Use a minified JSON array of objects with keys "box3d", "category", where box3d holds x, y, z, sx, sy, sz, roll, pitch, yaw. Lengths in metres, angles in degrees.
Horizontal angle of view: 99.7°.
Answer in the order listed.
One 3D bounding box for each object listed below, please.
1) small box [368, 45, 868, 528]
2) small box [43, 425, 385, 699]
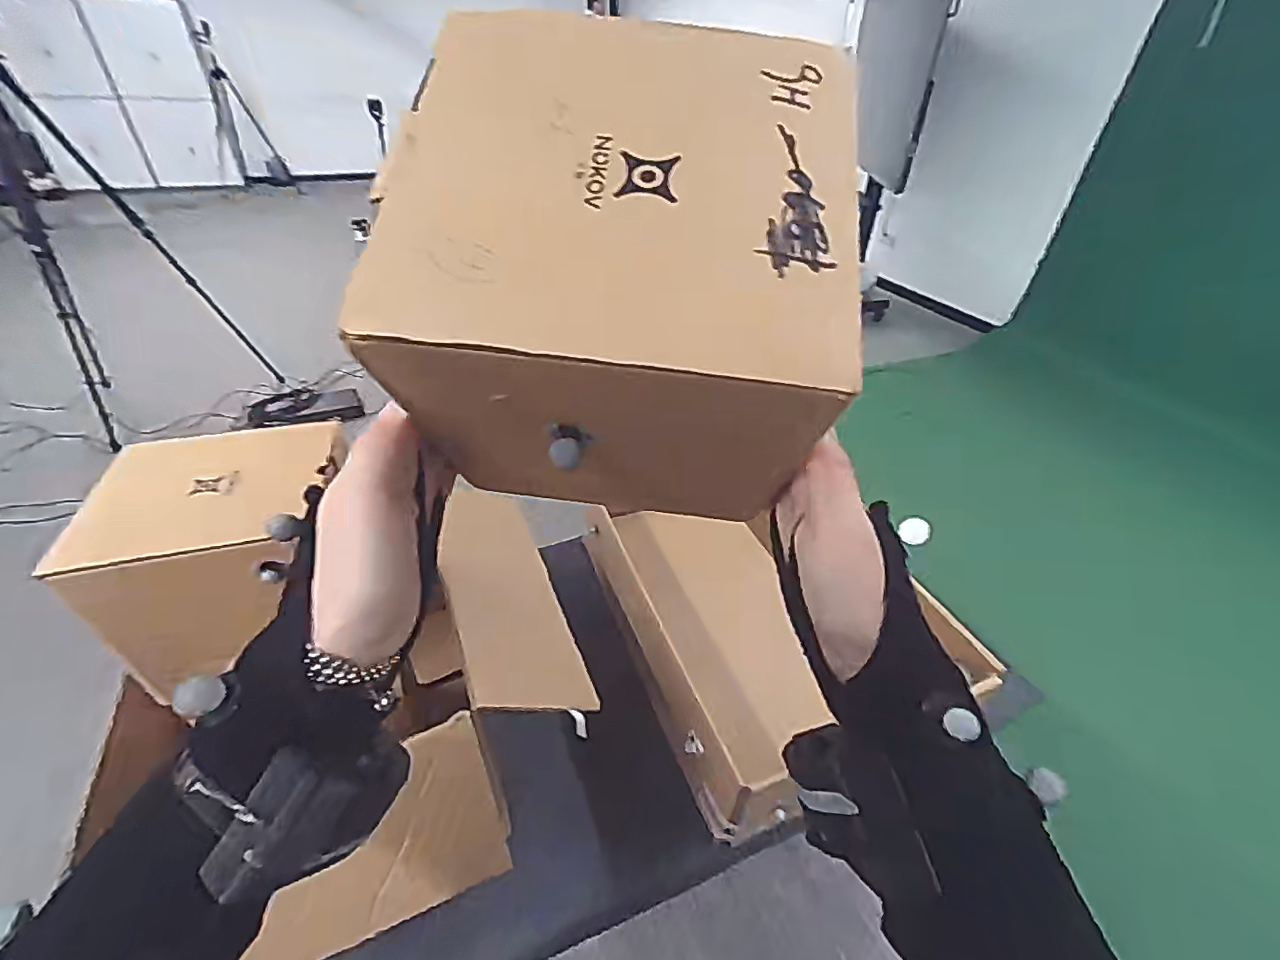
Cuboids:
[{"box3d":[0.001,-0.079,0.284,0.179,0.176,0.168,7,72,2],"category":"small box"},{"box3d":[-0.352,0.072,0.497,0.179,0.176,0.168,-10,40,-16],"category":"small box"}]
